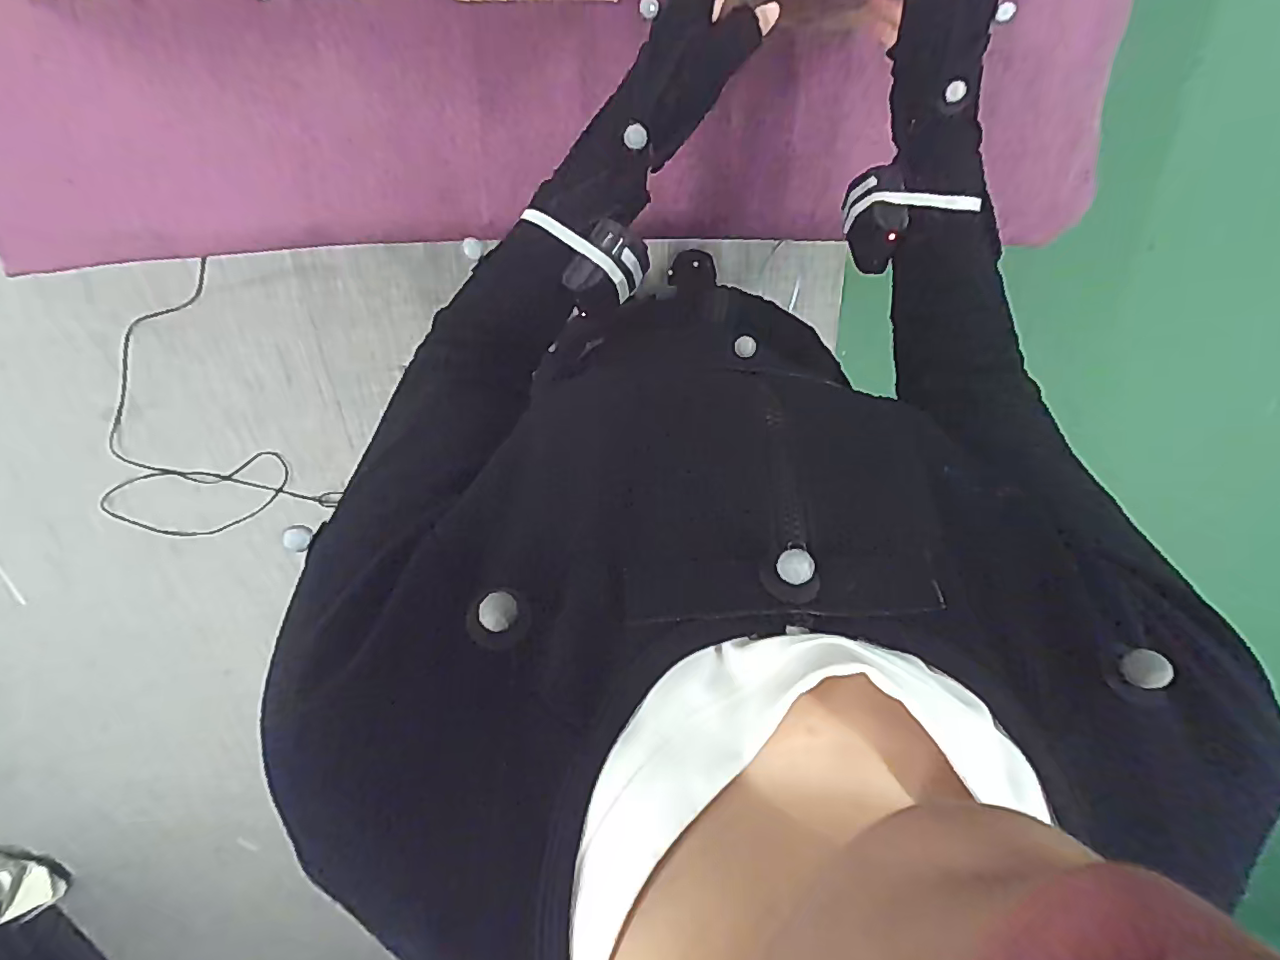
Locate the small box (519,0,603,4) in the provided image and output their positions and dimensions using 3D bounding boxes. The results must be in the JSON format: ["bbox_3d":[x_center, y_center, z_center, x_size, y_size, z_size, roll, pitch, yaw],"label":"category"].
[{"bbox_3d":[-0.101,-0.515,0.421,0.168,0.176,0.179,-1,116,-1],"label":"small box"}]
